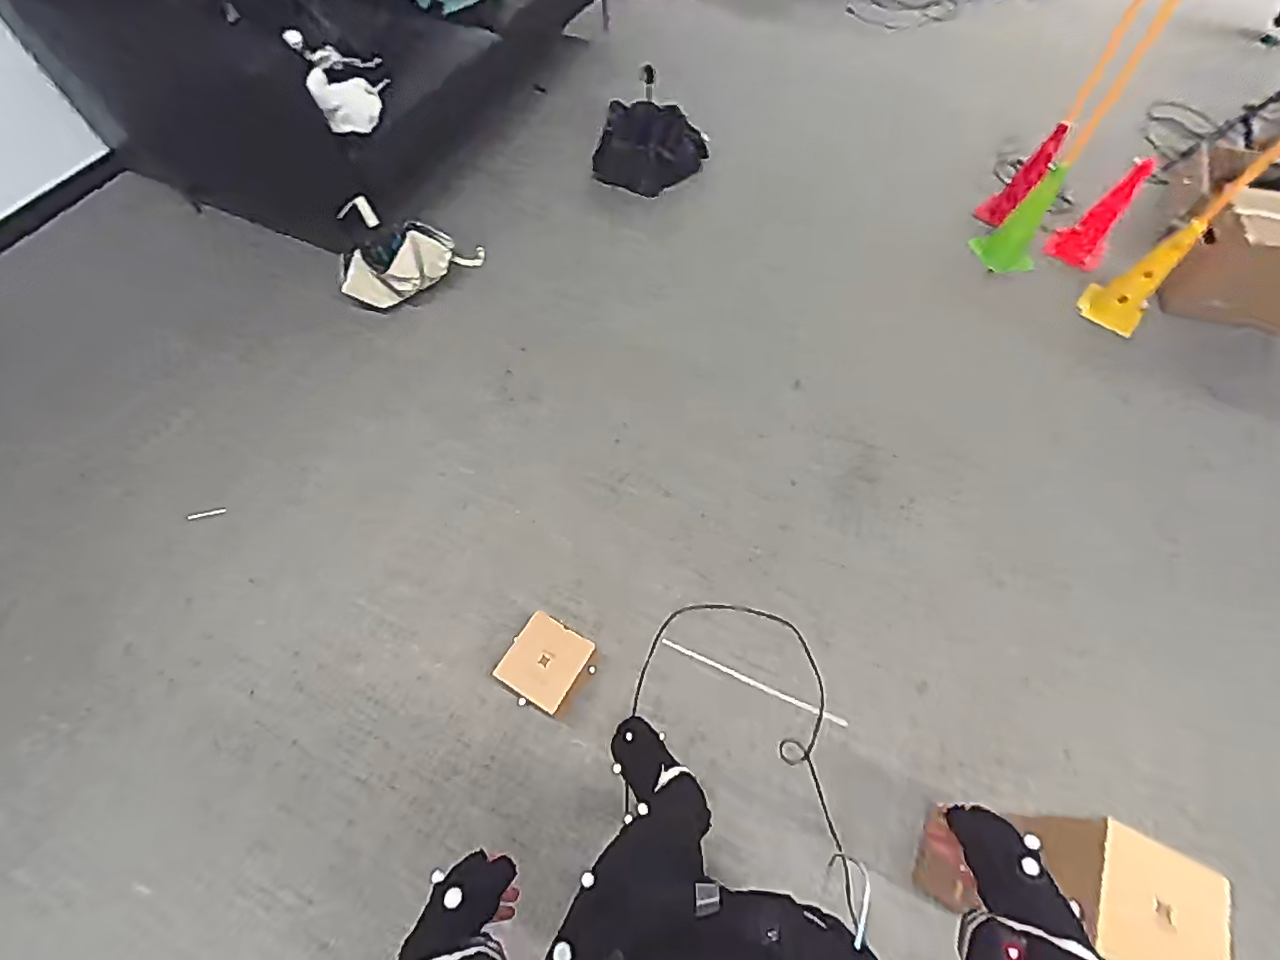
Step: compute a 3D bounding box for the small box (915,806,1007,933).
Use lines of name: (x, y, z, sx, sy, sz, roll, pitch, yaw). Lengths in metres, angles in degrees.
small box: (0.693, 0.790, 1.099, 0.179, 0.176, 0.168, 25, 64, 11)

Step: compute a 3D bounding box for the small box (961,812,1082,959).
small box: (0.703, 0.716, 0.952, 0.168, 0.176, 0.179, 26, 65, 11)

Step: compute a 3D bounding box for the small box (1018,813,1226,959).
small box: (0.711, 0.632, 0.813, 0.168, 0.176, 0.179, 25, 65, 11)

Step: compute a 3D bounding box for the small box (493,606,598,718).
small box: (-0.211, 0.429, 1.261, 0.168, 0.176, 0.179, 28, 65, 14)
